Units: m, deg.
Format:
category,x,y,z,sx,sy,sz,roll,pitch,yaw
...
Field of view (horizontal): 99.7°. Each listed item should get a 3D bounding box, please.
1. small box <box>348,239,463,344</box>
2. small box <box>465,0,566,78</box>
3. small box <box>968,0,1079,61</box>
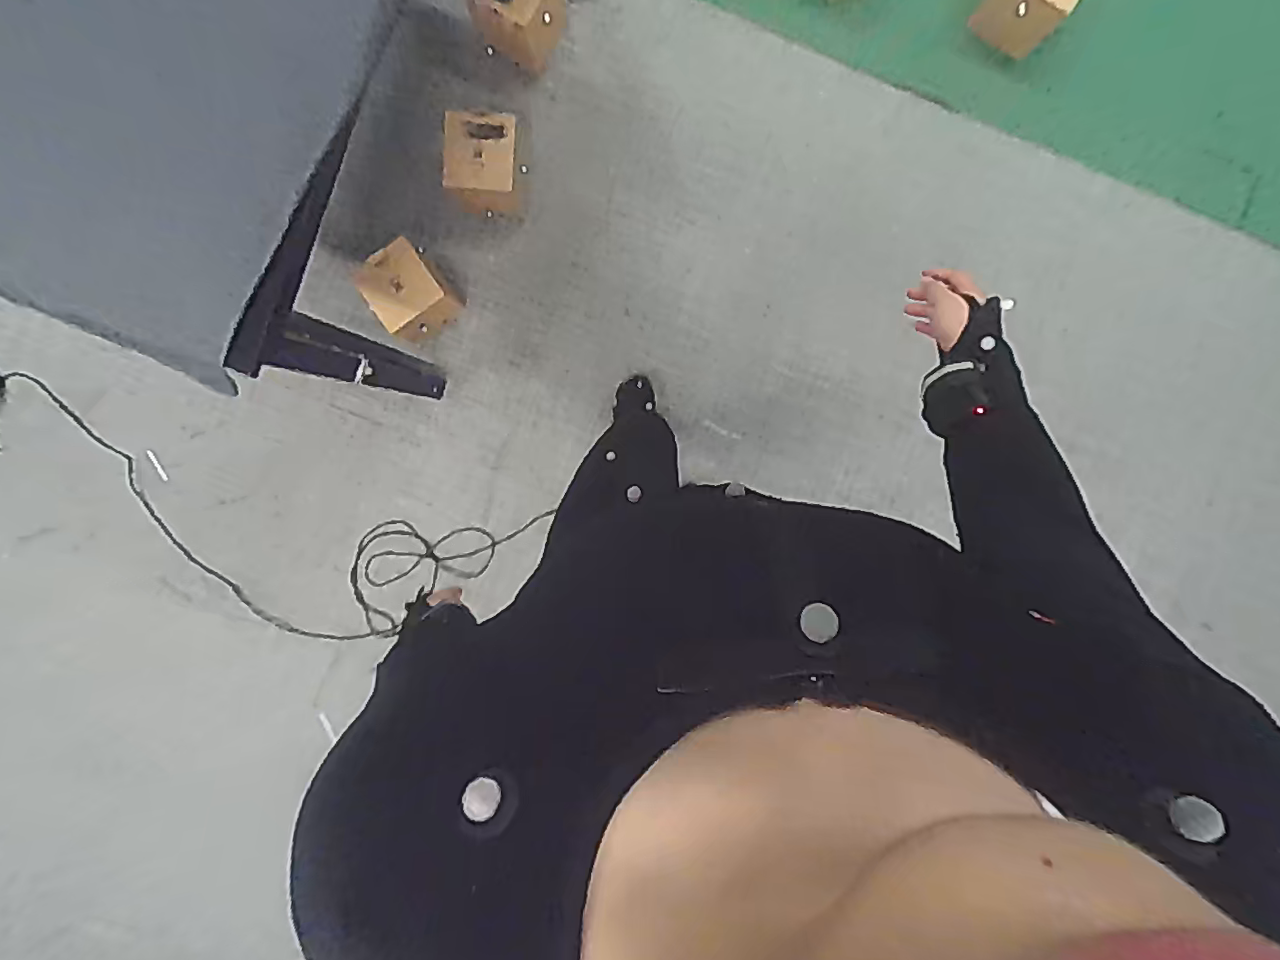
category,x,y,z,sx,sy,sz,roll,pitch,yaw
small box,-0.577,-0.460,1.360,0.168,0.176,0.179,-35,93,2
small box,-0.292,-1.138,1.312,0.168,0.176,0.179,27,92,-2
small box,0.951,-1.180,1.313,0.179,0.176,0.168,30,94,-3
